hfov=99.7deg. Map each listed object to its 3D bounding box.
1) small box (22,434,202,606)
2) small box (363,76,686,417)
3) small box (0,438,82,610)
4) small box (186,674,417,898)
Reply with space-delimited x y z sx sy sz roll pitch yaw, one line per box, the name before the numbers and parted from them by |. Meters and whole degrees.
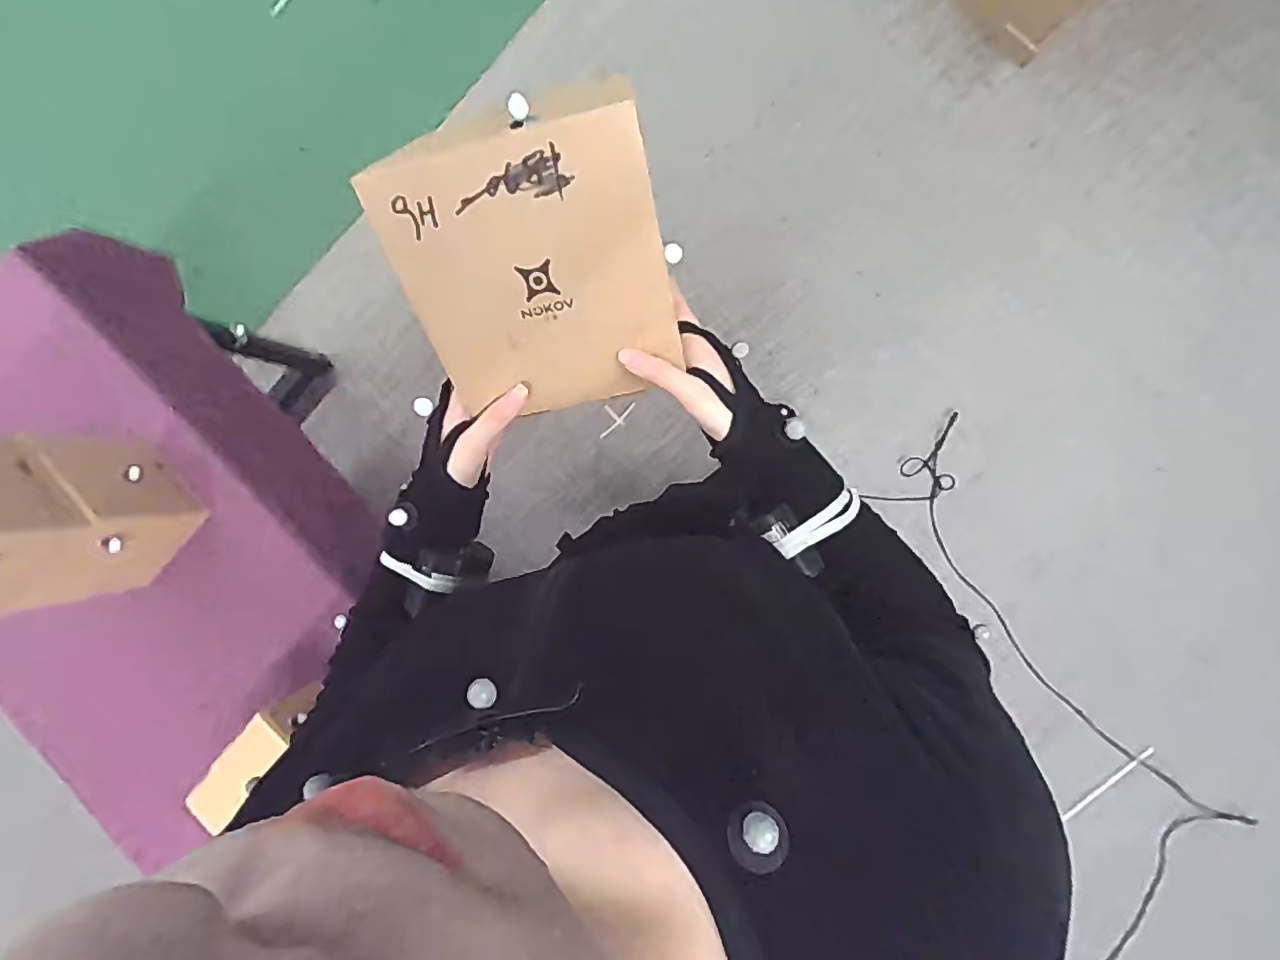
small box | -0.810 0.053 0.804 0.168 0.176 0.179 45 96 6
small box | -0.062 -0.176 0.409 0.168 0.176 0.179 -10 130 6
small box | -0.837 0.056 0.643 0.179 0.176 0.168 -44 84 7
small box | -0.454 0.406 0.753 0.179 0.176 0.168 42 96 7
